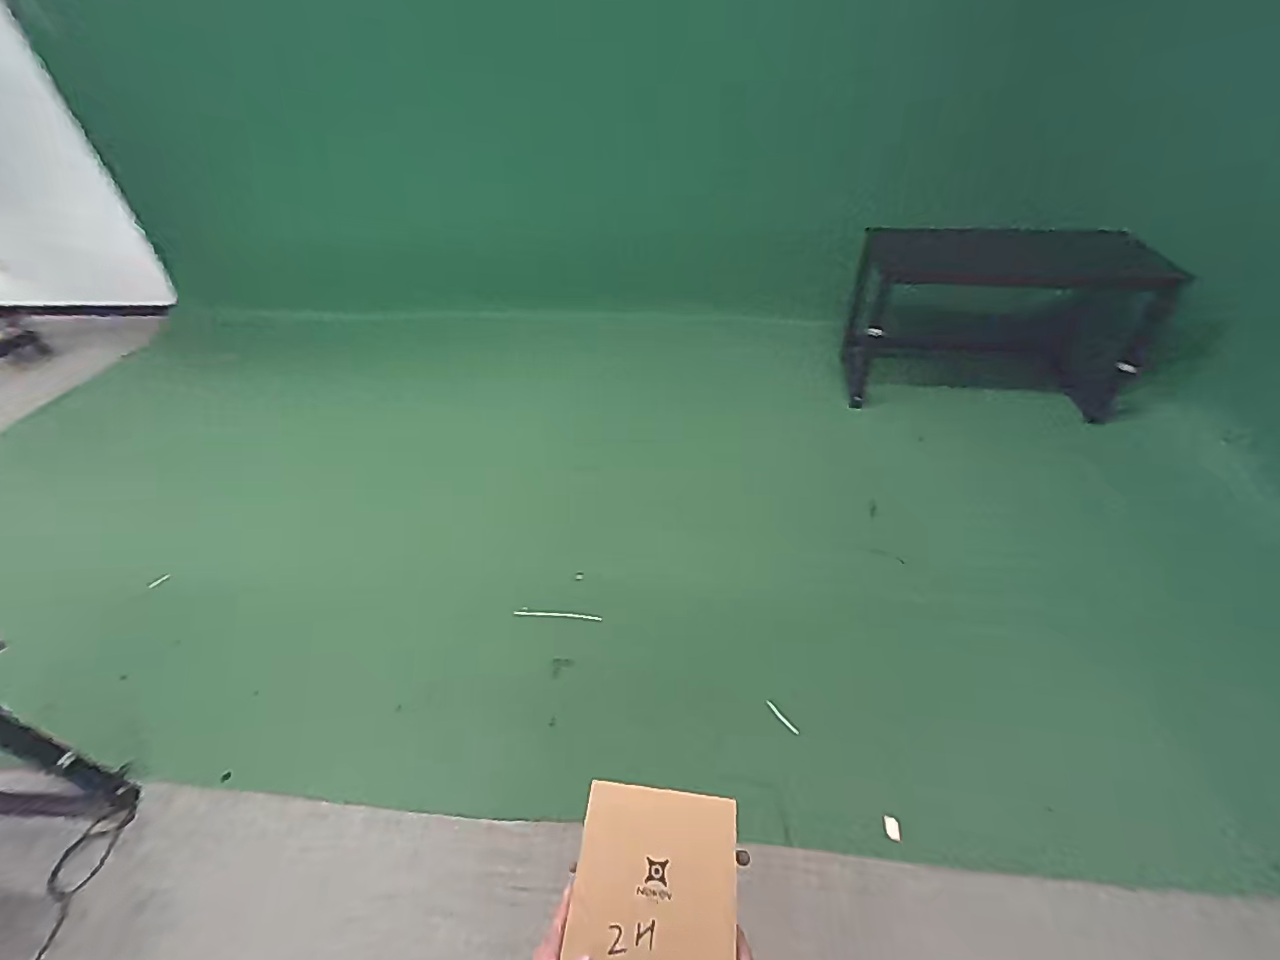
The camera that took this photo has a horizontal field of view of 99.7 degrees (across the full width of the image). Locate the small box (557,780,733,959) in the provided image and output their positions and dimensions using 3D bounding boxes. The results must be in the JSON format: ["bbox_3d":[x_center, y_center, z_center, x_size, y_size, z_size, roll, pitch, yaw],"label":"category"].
[{"bbox_3d":[0.013,0.467,0.603,0.168,0.176,0.179,4,43,6],"label":"small box"}]
